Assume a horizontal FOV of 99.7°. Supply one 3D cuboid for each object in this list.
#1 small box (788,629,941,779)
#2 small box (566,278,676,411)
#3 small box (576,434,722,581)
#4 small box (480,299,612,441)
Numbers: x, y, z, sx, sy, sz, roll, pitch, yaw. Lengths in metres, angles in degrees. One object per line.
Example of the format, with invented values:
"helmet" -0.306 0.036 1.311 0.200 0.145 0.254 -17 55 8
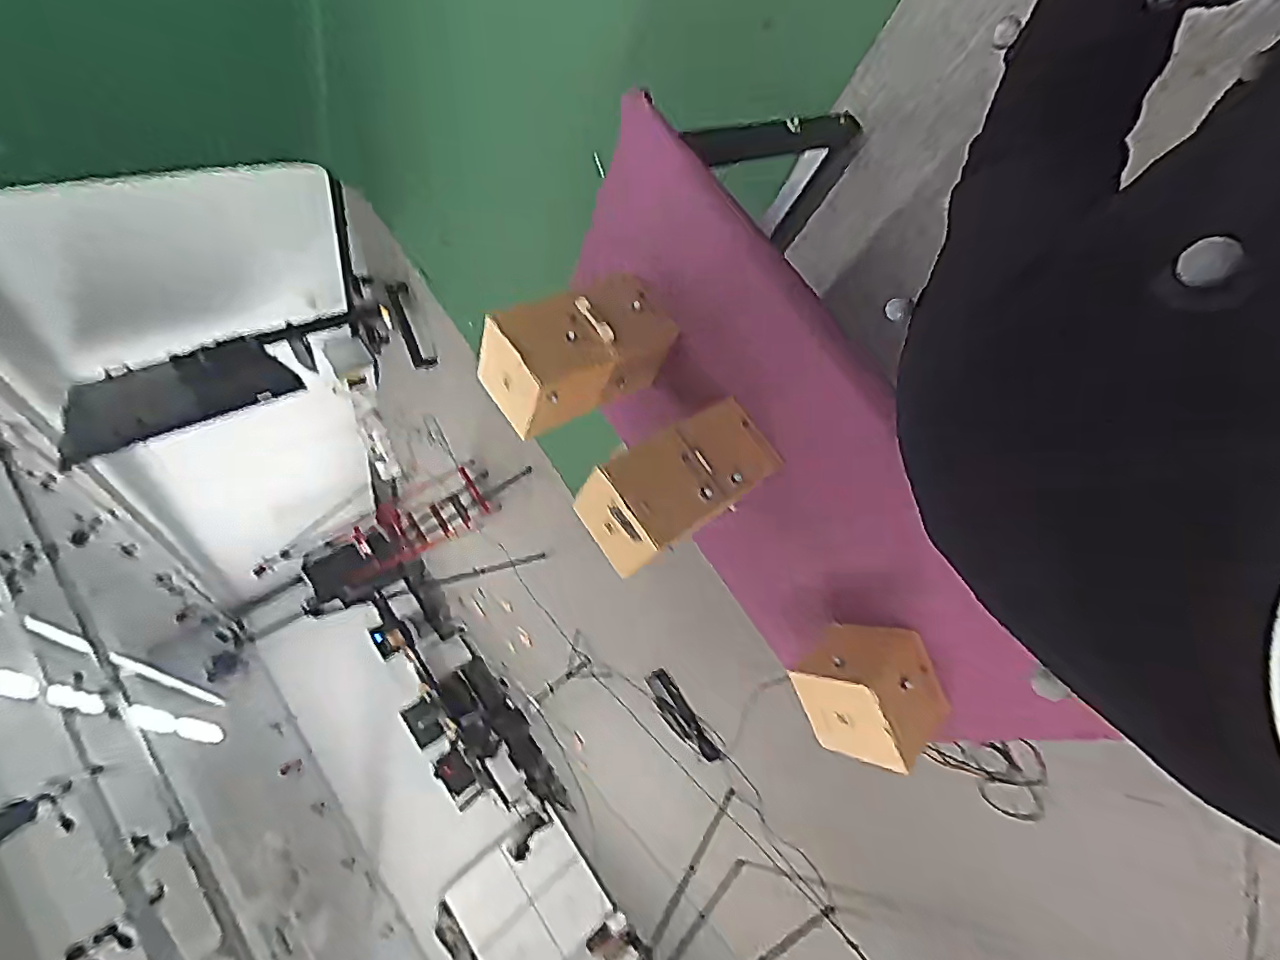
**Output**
"small box" 0.407 0.385 0.968 0.179 0.176 0.168 -15 102 56
"small box" -0.055 -0.276 1.096 0.168 0.176 0.179 51 146 11
"small box" 0.018 0.045 0.948 0.168 0.176 0.179 54 148 9
"small box" -0.176 -0.206 1.012 0.168 0.176 0.179 52 146 11
